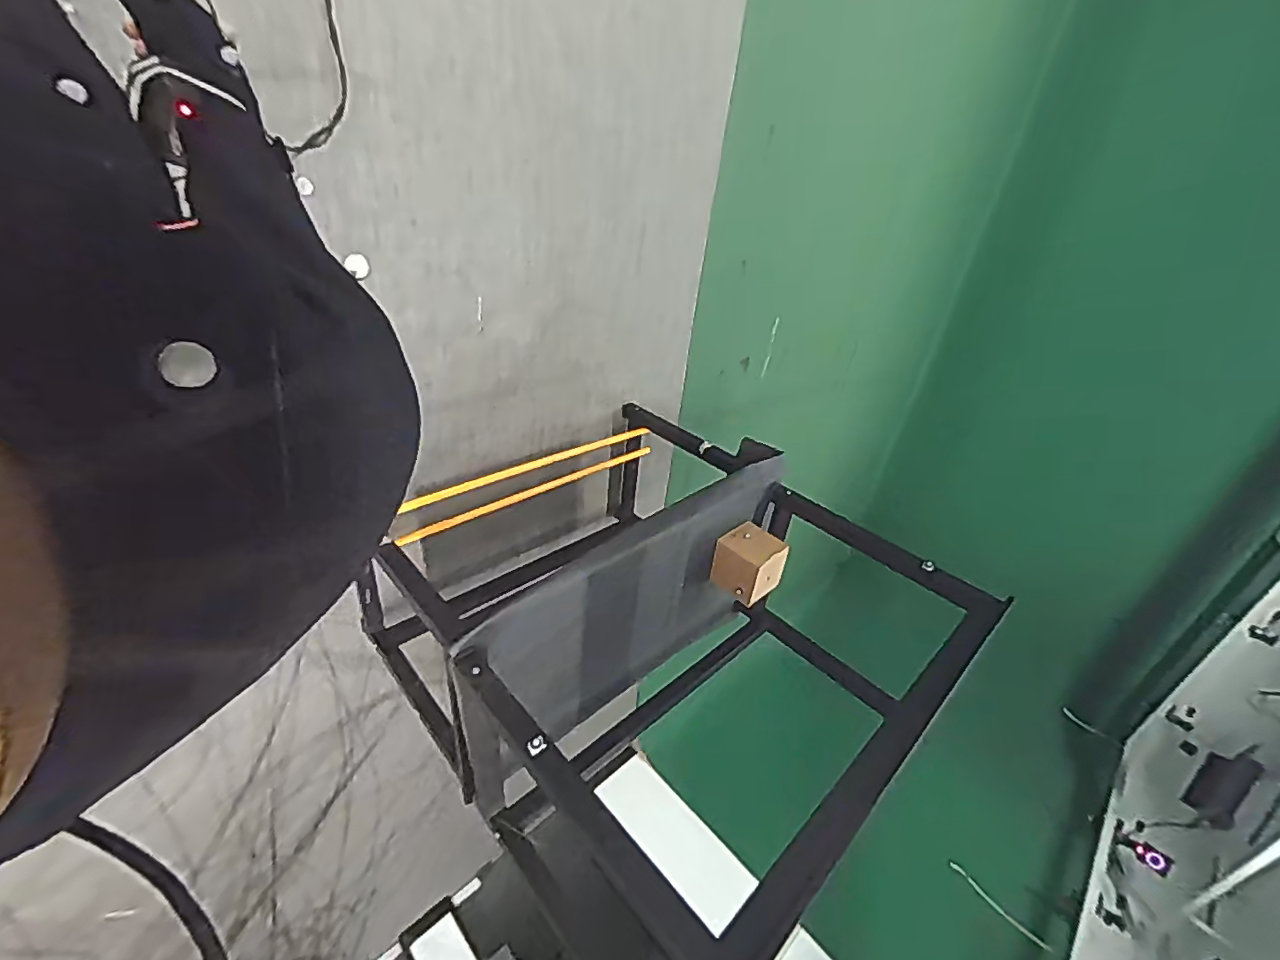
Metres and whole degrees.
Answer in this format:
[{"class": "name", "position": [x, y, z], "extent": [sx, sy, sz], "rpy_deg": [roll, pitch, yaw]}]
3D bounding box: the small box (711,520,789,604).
[{"class": "small box", "position": [0.350, 0.262, 1.758], "extent": [0.168, 0.176, 0.179], "rpy_deg": [-25, 134, -37]}]
